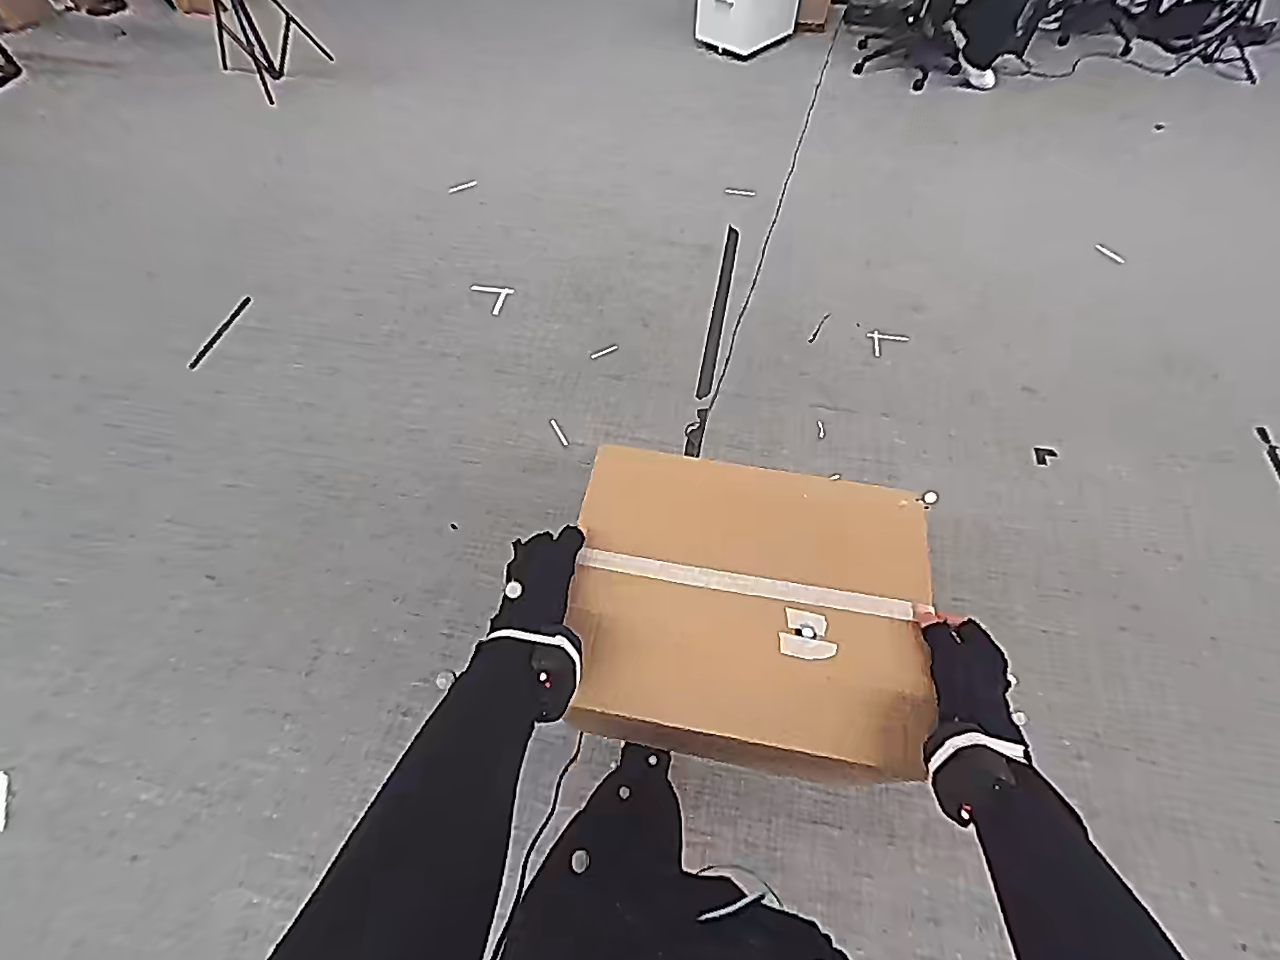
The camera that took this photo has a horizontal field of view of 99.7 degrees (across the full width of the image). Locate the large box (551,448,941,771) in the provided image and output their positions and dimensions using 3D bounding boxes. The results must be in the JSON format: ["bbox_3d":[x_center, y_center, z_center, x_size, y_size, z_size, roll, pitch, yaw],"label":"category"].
[{"bbox_3d":[0.125,0.189,0.745,0.408,0.320,0.320,9,61,6],"label":"large box"}]
